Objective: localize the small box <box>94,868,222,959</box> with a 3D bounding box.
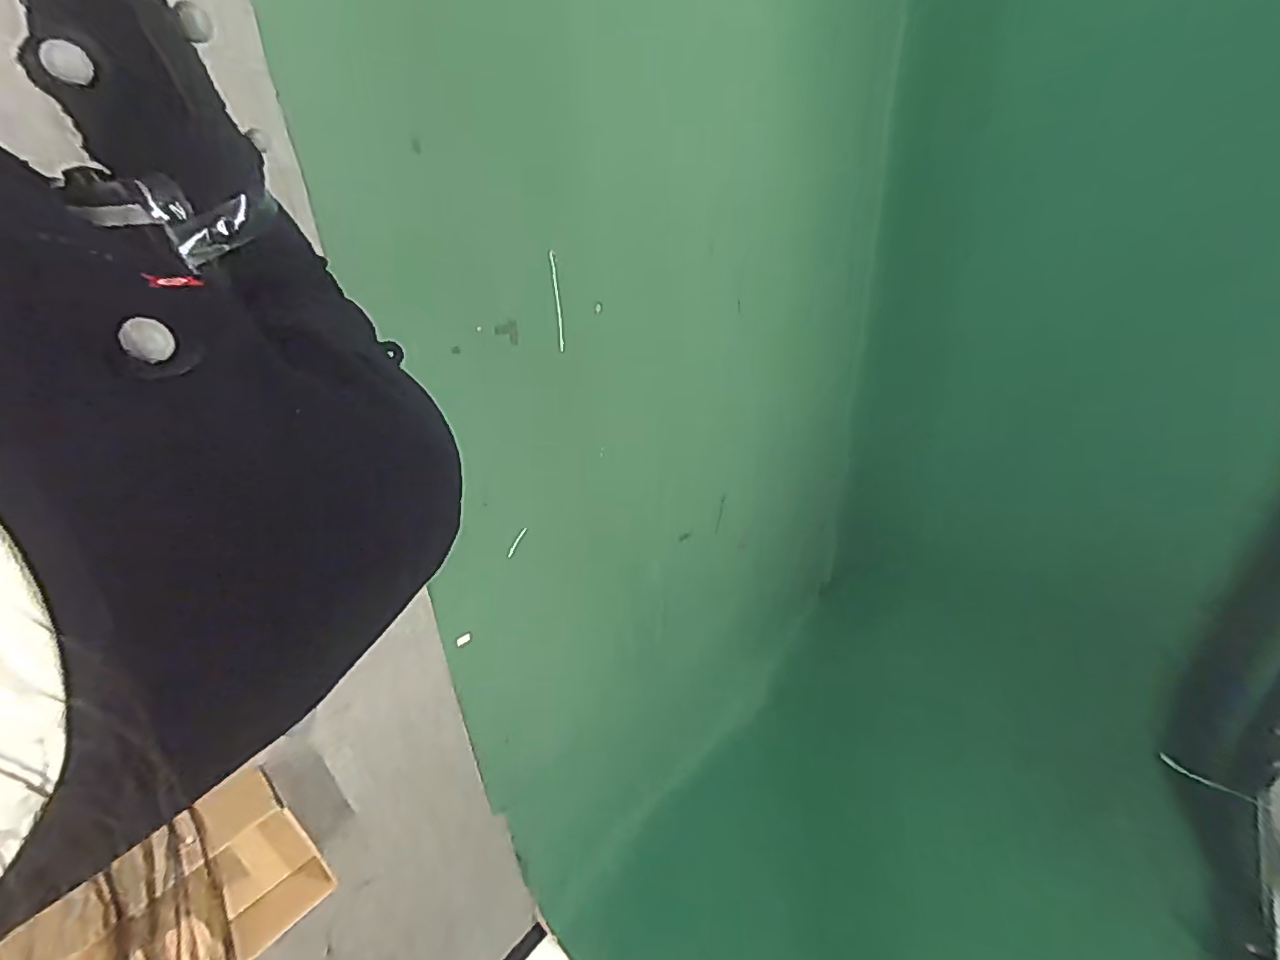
[{"bbox_3d":[-1.133,1.066,1.270,0.168,0.176,0.179,-29,126,-40],"label":"small box"}]
